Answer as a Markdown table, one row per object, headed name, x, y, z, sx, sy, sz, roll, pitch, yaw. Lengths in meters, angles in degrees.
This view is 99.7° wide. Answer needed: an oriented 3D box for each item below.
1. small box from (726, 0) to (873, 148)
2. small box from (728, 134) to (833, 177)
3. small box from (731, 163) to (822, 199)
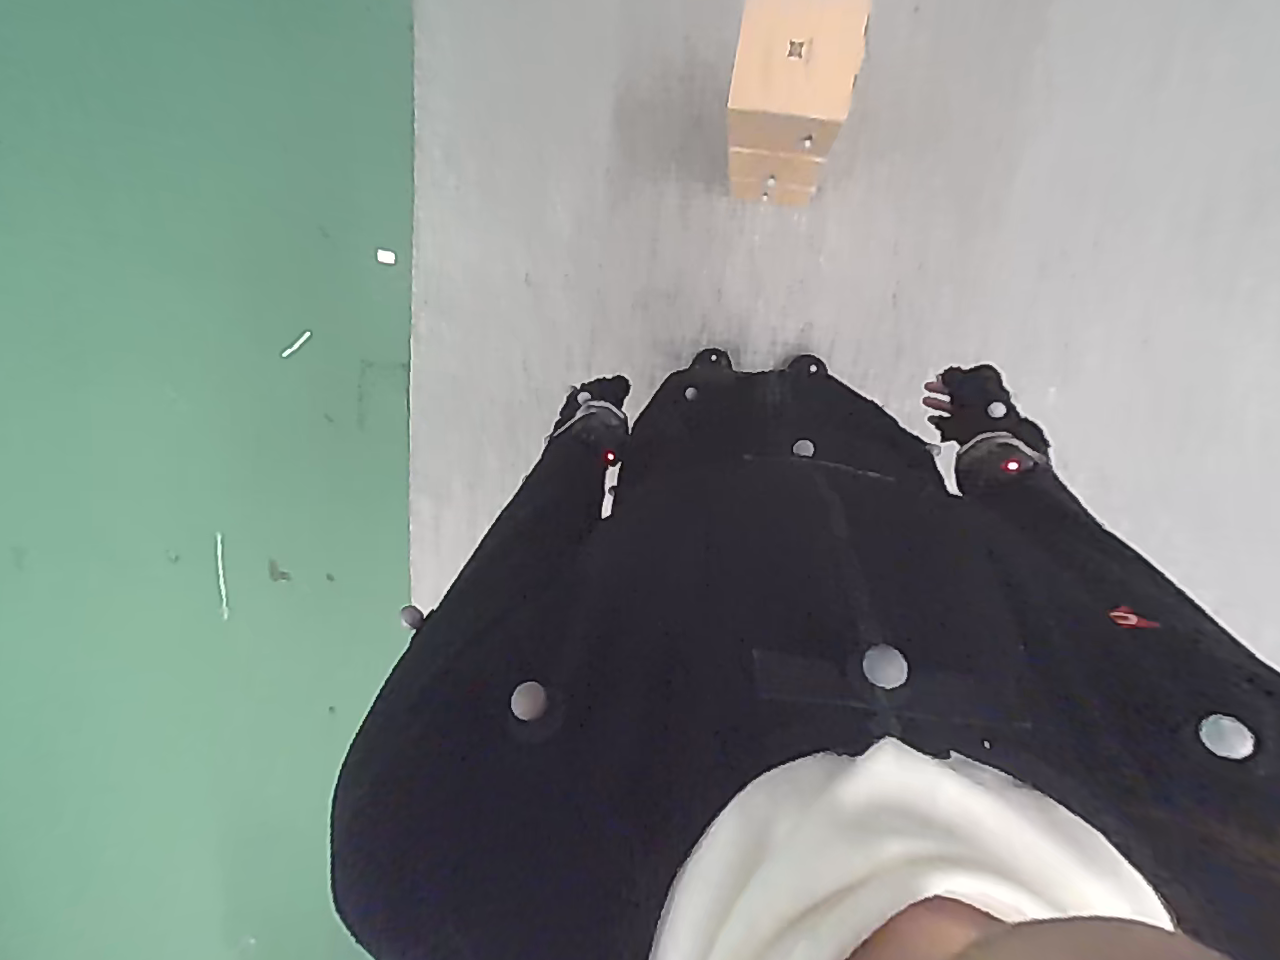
| name | x | y | z | sx | sy | sz | roll | pitch | yaw |
| --- | --- | --- | --- | --- | --- | --- | --- | --- | --- |
| small box | 0.236 | -0.635 | 0.836 | 0.179 | 0.176 | 0.168 | 11 | 106 | 7 |
| small box | 0.264 | -0.673 | 0.991 | 0.179 | 0.176 | 0.168 | 13 | 107 | 6 |
| small box | 0.295 | -0.710 | 1.148 | 0.179 | 0.176 | 0.168 | 9 | 107 | 6 |
